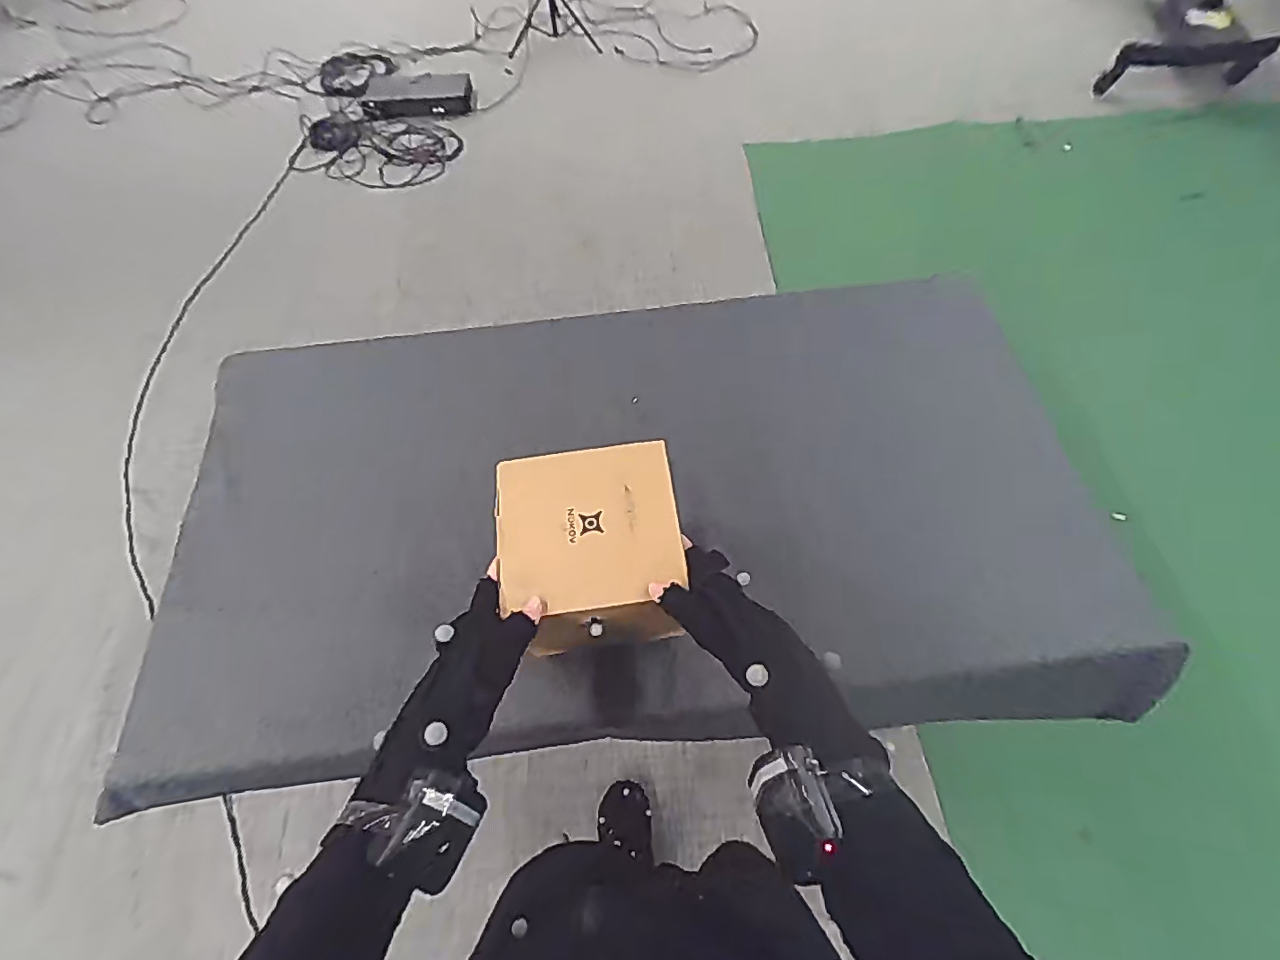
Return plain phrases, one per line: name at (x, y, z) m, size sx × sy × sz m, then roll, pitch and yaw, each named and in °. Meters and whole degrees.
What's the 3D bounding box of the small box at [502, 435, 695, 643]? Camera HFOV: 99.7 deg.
small box at (-0.043, 0.073, 0.592) m, size 0.179 × 0.176 × 0.168 m, roll -8°, pitch 64°, yaw -3°
